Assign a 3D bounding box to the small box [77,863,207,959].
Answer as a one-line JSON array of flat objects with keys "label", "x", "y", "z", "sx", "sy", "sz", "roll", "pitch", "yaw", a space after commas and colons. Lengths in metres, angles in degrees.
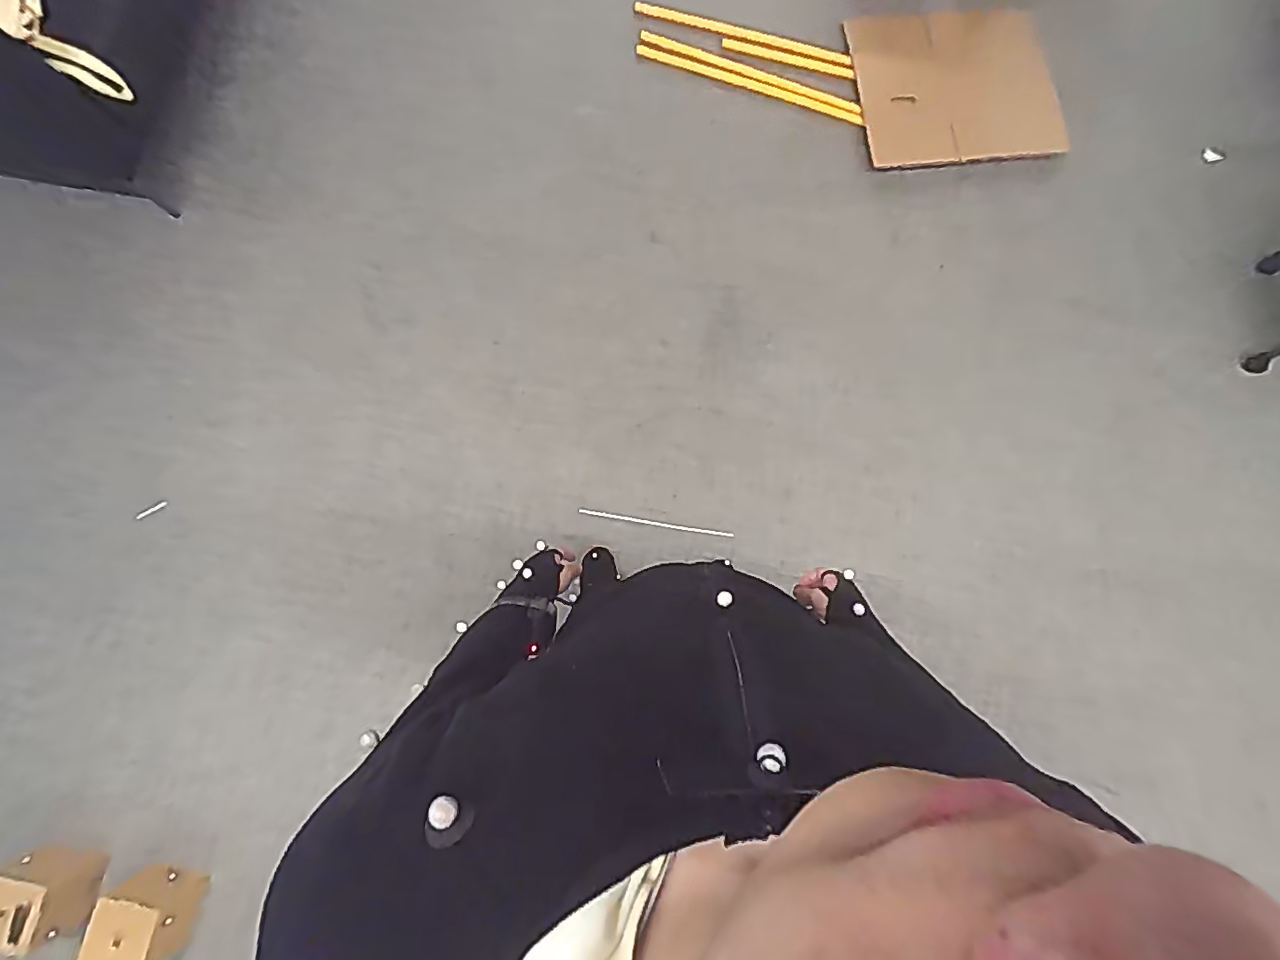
[{"label": "small box", "x": -1.297, "y": 1.158, "z": 1.420, "sx": 0.168, "sy": 0.176, "sz": 0.179, "roll": 12, "pitch": 81, "yaw": 2}]
